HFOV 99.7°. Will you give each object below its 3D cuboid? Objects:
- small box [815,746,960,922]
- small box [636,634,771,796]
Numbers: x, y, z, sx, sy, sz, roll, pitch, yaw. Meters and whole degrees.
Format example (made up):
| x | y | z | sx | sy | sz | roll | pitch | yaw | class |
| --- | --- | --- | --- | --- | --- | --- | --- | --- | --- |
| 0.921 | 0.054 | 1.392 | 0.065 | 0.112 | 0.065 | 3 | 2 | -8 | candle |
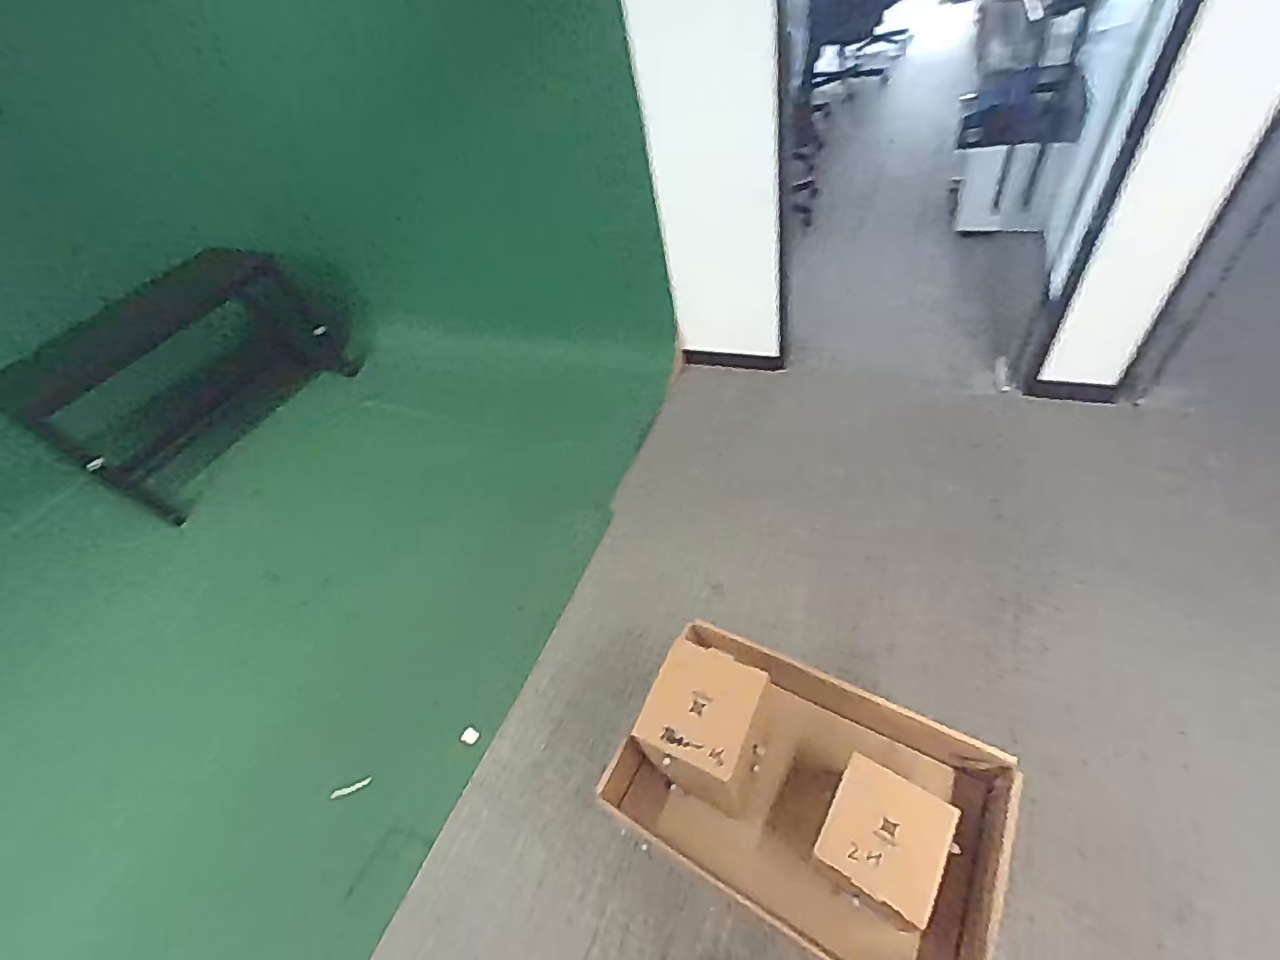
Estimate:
| x | y | z | sx | sy | sz | roll | pitch | yaw | class |
| --- | --- | --- | --- | --- | --- | --- | --- | --- | --- |
| 0.400 | 0.587 | 0.899 | 0.168 | 0.176 | 0.179 | 22 | 60 | 31 | small box |
| 0.119 | 0.400 | 0.922 | 0.168 | 0.176 | 0.179 | 14 | 56 | 28 | small box |
